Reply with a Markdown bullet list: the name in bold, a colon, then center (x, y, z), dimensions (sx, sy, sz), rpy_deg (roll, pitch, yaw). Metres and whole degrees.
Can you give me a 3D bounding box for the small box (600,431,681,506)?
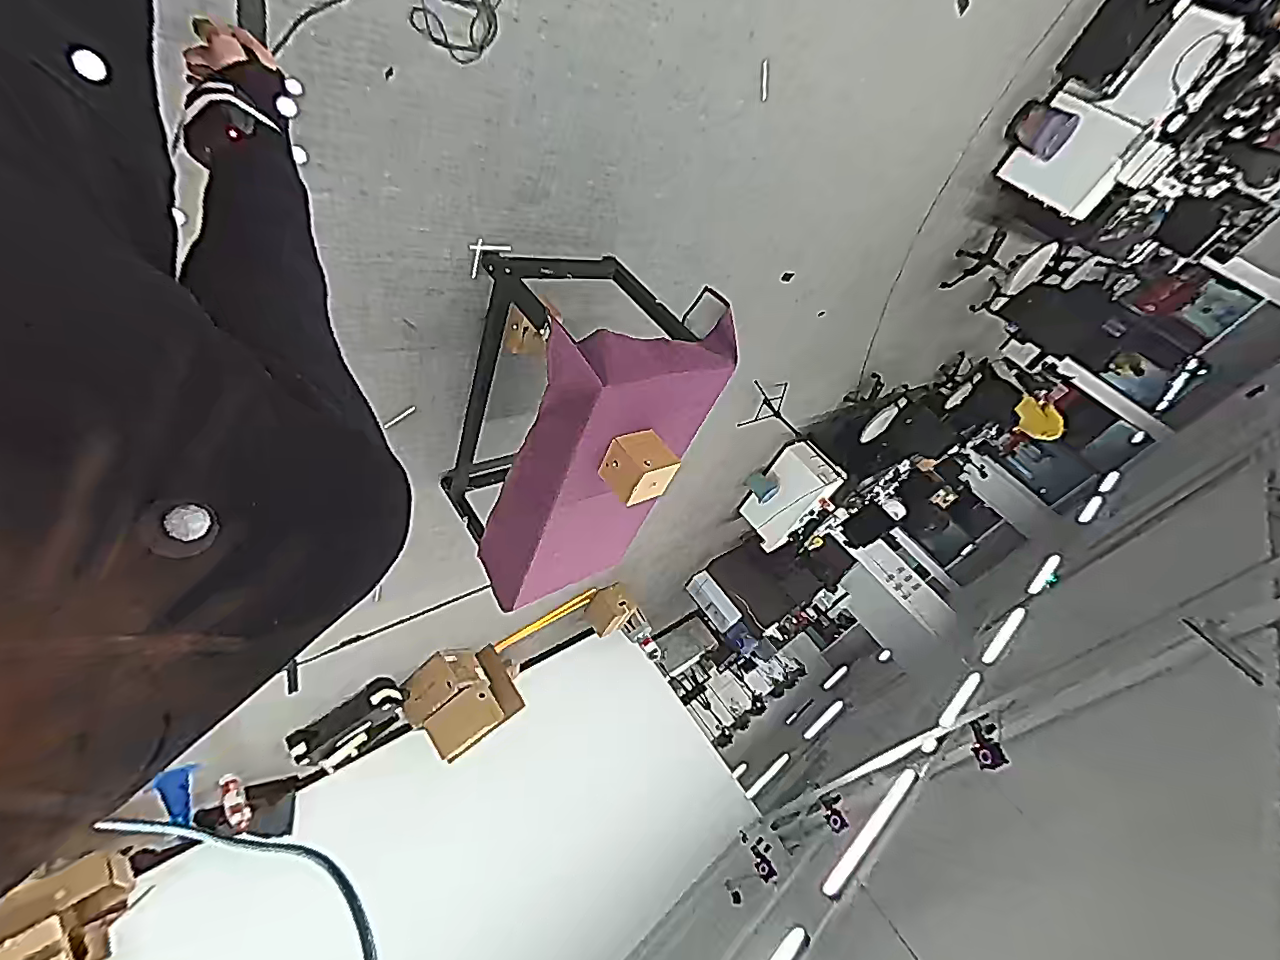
- **small box**: center (-0.003, -0.046, 1.803), dimensions (0.179, 0.176, 0.168), rpy_deg (-17, 148, -40)
